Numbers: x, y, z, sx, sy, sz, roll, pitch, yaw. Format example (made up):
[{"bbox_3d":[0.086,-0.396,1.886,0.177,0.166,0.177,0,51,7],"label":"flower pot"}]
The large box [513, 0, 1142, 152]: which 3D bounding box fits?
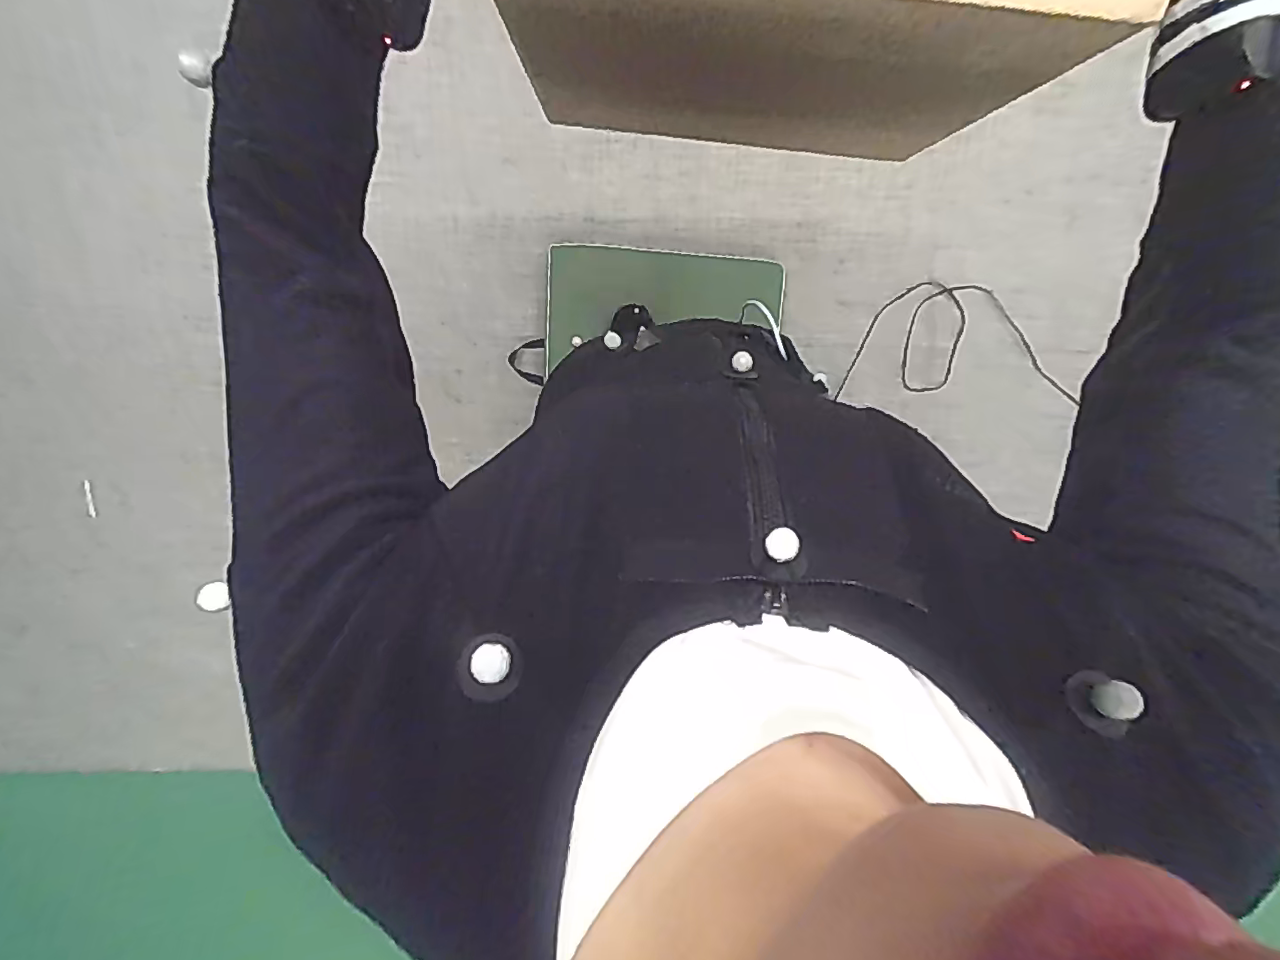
[{"bbox_3d":[0.114,-0.483,0.421,0.408,0.320,0.320,4,108,-3],"label":"large box"}]
